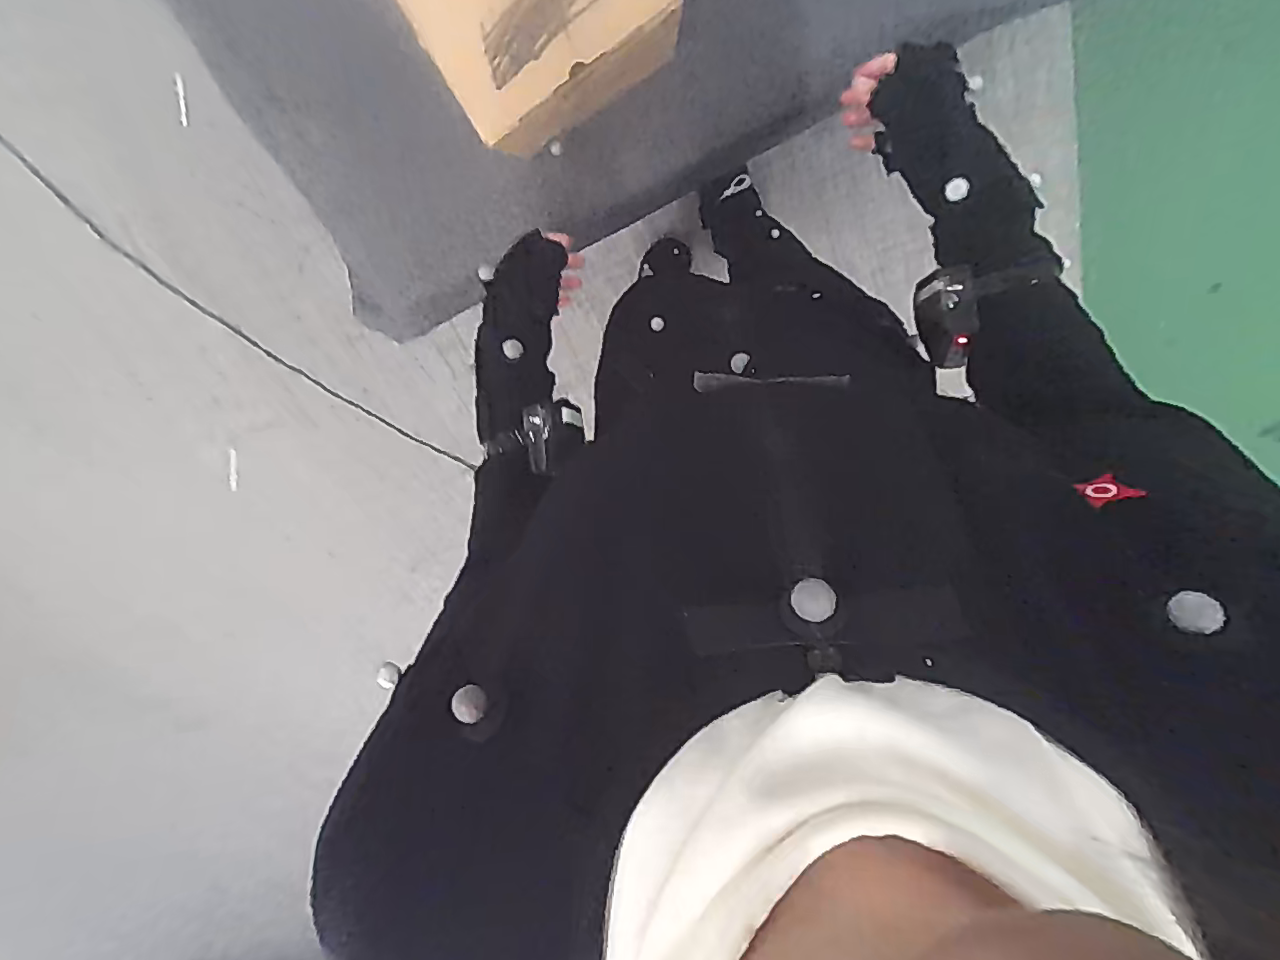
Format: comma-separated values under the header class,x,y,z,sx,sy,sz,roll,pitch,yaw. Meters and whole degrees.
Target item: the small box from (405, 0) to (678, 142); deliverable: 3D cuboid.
class,x,y,z,sx,sy,sz,roll,pitch,yaw
small box,-0.082,-0.388,0.412,0.168,0.176,0.179,-27,113,14
